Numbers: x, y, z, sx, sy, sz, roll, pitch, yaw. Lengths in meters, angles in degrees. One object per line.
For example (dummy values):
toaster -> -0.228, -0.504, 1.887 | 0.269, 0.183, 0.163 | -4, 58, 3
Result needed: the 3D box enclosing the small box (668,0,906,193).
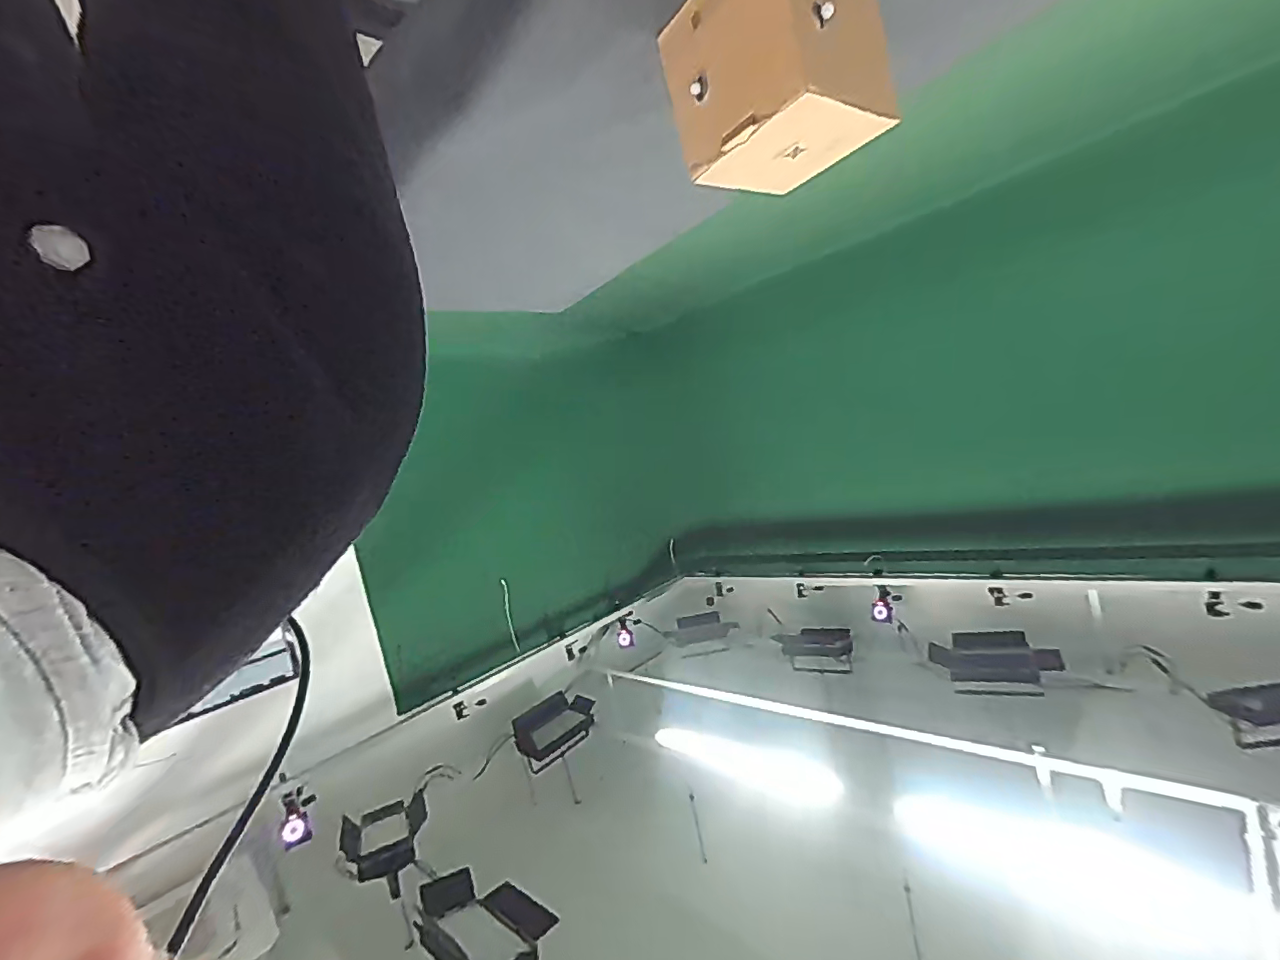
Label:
small box -> 0.155, -0.445, 0.594 | 0.179, 0.176, 0.168 | -19, -174, -34
